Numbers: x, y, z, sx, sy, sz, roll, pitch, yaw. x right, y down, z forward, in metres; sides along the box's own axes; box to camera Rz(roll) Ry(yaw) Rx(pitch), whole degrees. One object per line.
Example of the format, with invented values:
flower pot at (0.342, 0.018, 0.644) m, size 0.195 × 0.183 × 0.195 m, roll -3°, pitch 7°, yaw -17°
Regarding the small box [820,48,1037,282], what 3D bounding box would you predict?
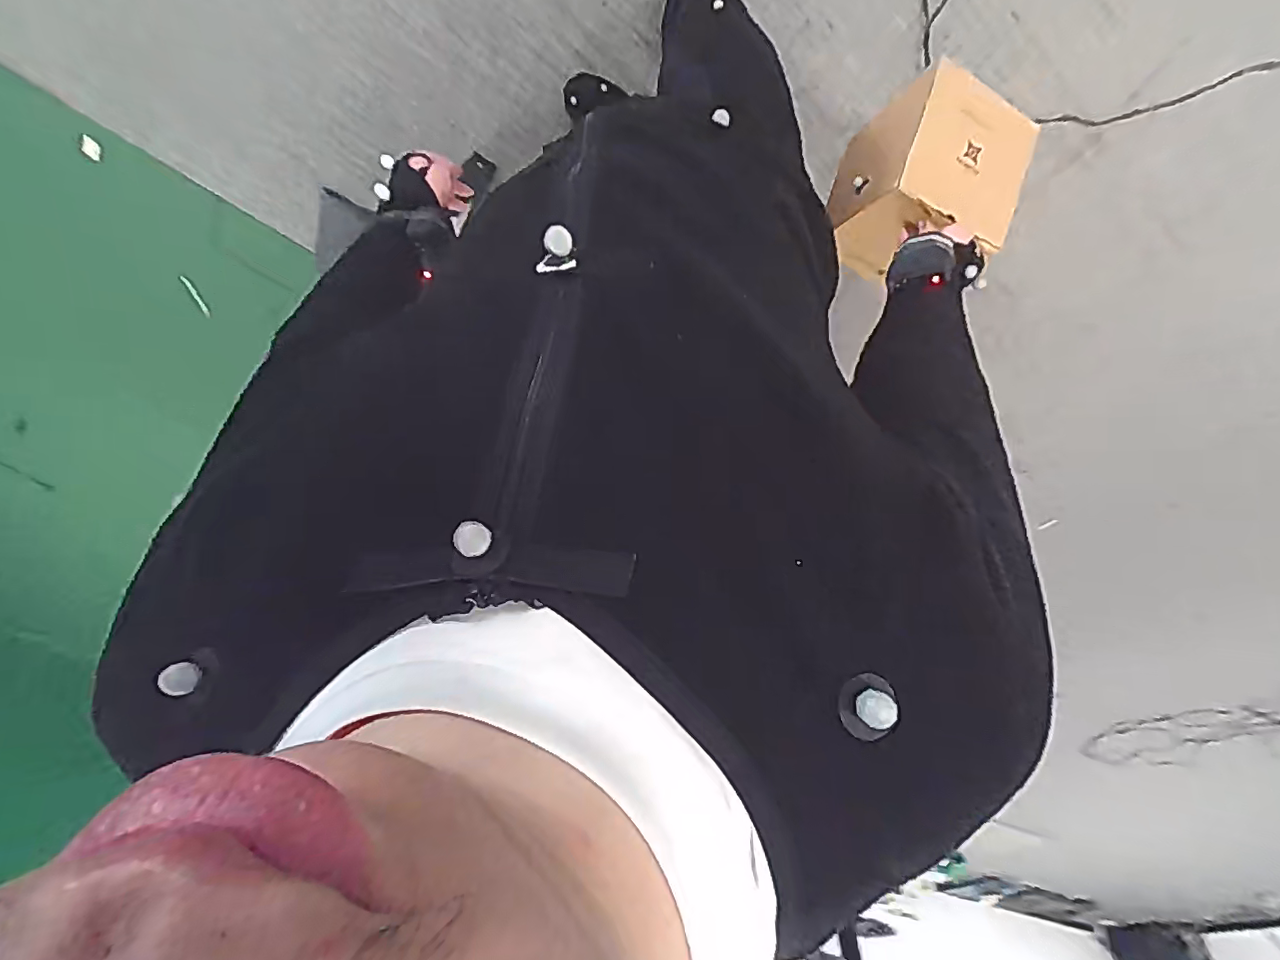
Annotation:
small box at (0.368, -0.394, 0.717) m, size 0.168 × 0.179 × 0.176 m, roll 21°, pitch 174°, yaw -17°
